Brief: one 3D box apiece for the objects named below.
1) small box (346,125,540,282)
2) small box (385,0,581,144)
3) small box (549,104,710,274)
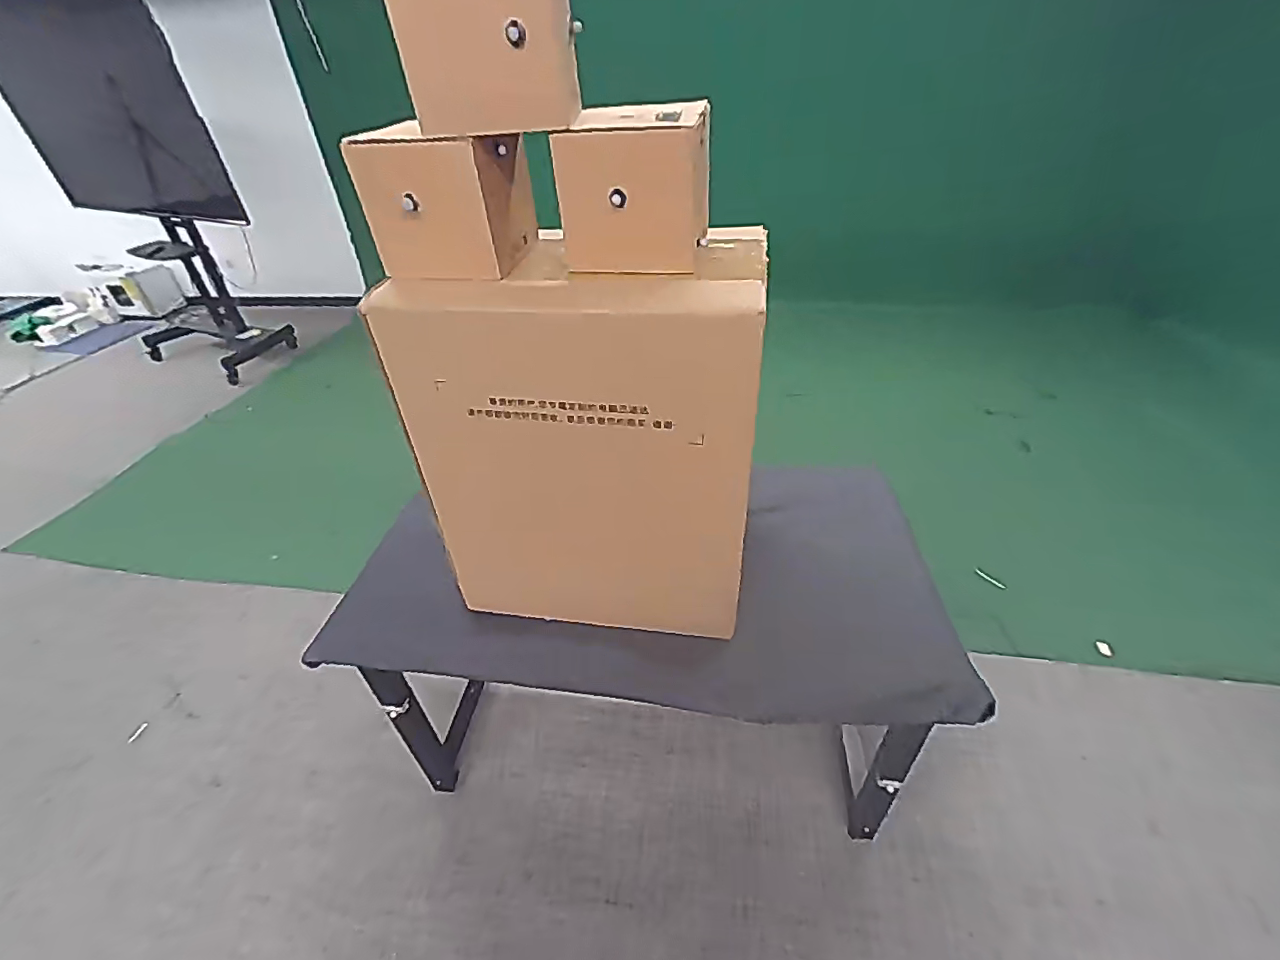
[{"bbox_3d":[-0.258,-0.389,0.757,0.179,0.176,0.168,5,42,11],"label":"small box"},{"bbox_3d":[-0.170,-0.510,0.639,0.179,0.176,0.168,-3,40,3],"label":"small box"},{"bbox_3d":[-0.002,-0.388,0.728,0.179,0.176,0.168,4,42,12],"label":"small box"}]
